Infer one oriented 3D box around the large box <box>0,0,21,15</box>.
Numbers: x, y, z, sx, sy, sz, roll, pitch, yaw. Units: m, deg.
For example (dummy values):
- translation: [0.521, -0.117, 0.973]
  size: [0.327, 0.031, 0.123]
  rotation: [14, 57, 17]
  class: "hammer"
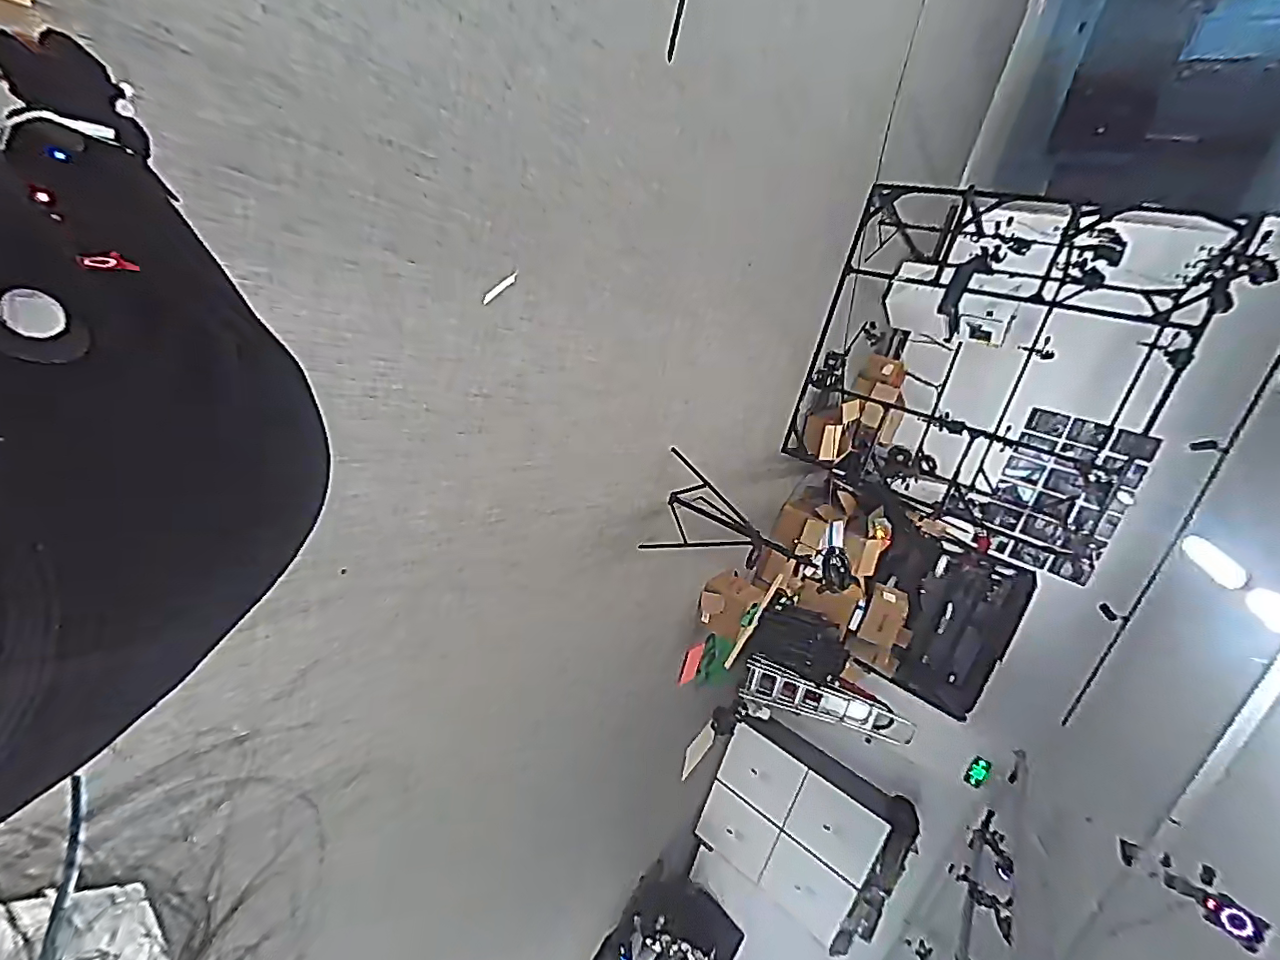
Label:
- translation: [-1.009, -0.778, 0.578]
  size: [0.408, 0.320, 0.320]
  rotation: [-17, 125, -51]
  class: "large box"
